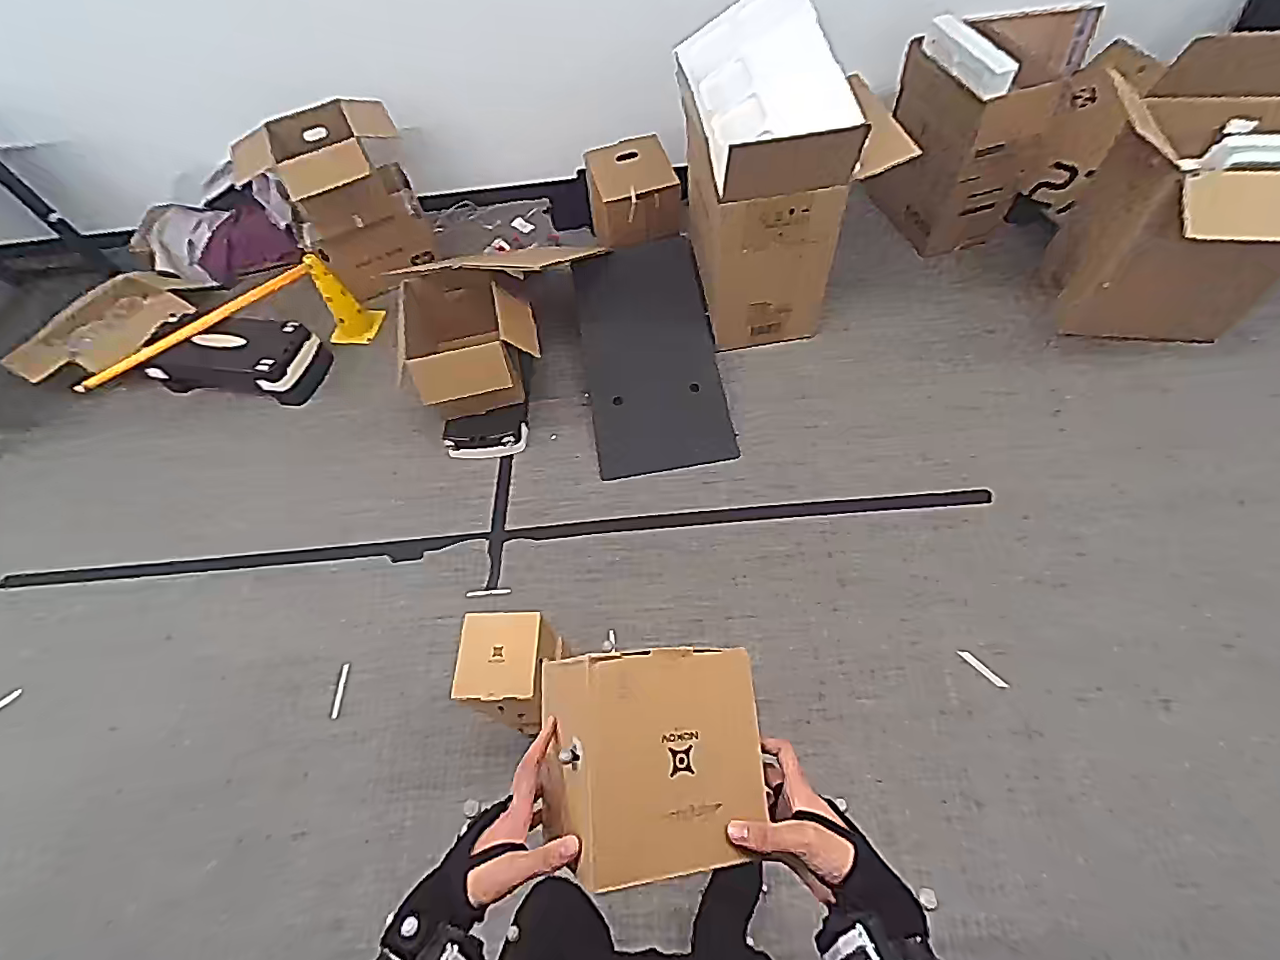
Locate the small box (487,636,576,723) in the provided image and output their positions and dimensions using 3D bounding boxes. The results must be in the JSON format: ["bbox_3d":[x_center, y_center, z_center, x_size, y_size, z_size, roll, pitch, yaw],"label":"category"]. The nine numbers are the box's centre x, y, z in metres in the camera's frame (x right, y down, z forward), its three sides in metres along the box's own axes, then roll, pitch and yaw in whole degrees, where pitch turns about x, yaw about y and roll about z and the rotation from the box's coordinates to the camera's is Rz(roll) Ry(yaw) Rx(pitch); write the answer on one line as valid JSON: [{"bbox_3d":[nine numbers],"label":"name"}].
[{"bbox_3d":[-0.252,0.483,1.300,0.179,0.176,0.168,-4,58,2],"label":"small box"}]

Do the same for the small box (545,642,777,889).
[{"bbox_3d":[0.007,0.258,0.527,0.168,0.176,0.179,6,69,-23],"label":"small box"}]

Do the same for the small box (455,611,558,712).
[{"bbox_3d":[-0.276,0.393,1.166,0.168,0.176,0.179,-2,59,4],"label":"small box"}]
